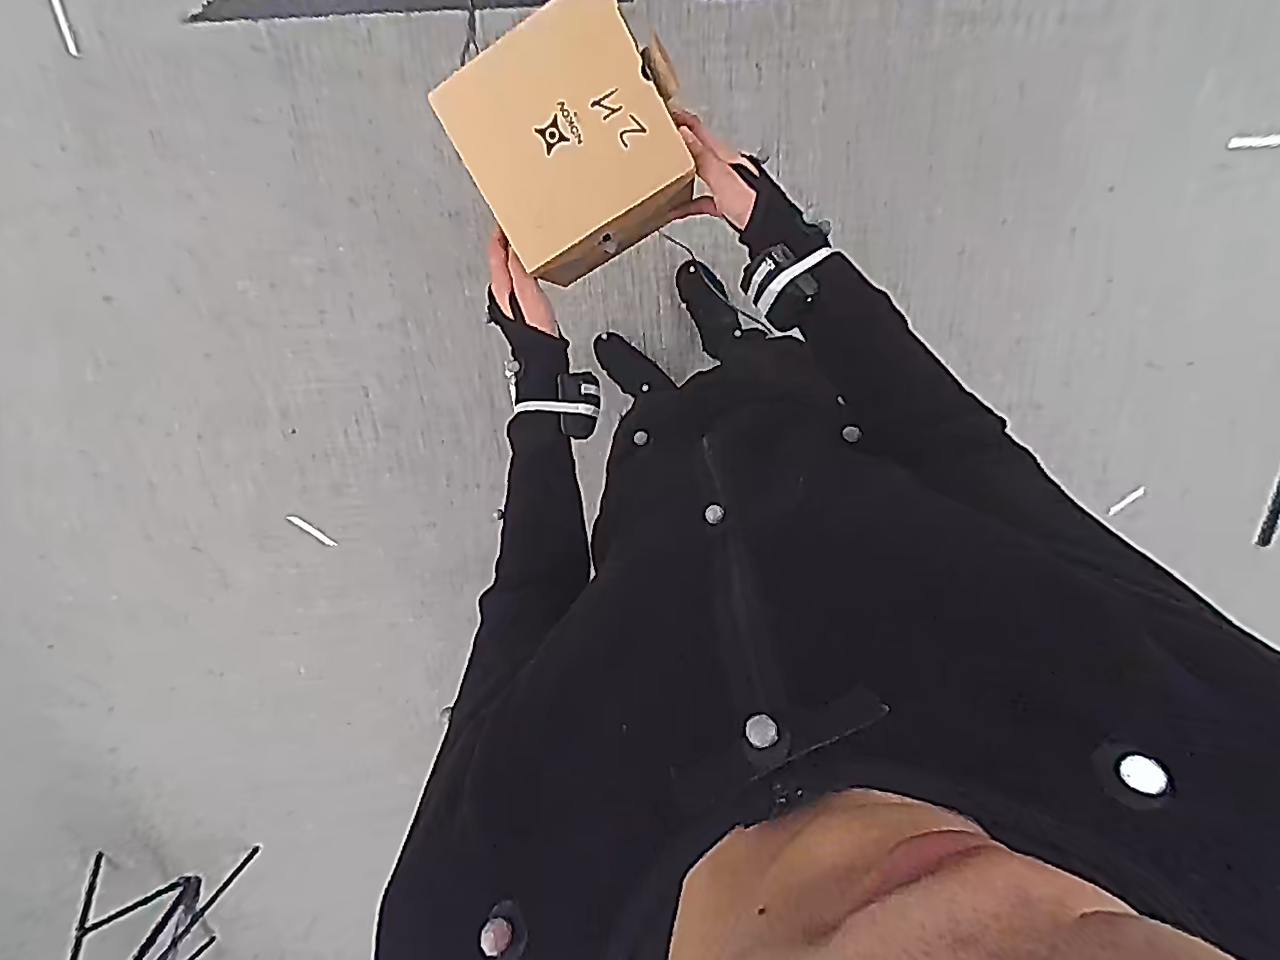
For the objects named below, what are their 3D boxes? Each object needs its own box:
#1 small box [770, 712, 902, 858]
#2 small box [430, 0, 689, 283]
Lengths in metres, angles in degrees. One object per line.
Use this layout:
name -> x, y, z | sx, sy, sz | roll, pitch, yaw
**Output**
small box -> 0.346, 0.548, 0.990 | 0.168, 0.176, 0.179 | 1, 110, -3
small box -> -0.062, -0.315, 0.537 | 0.179, 0.176, 0.168 | -28, 102, 10
